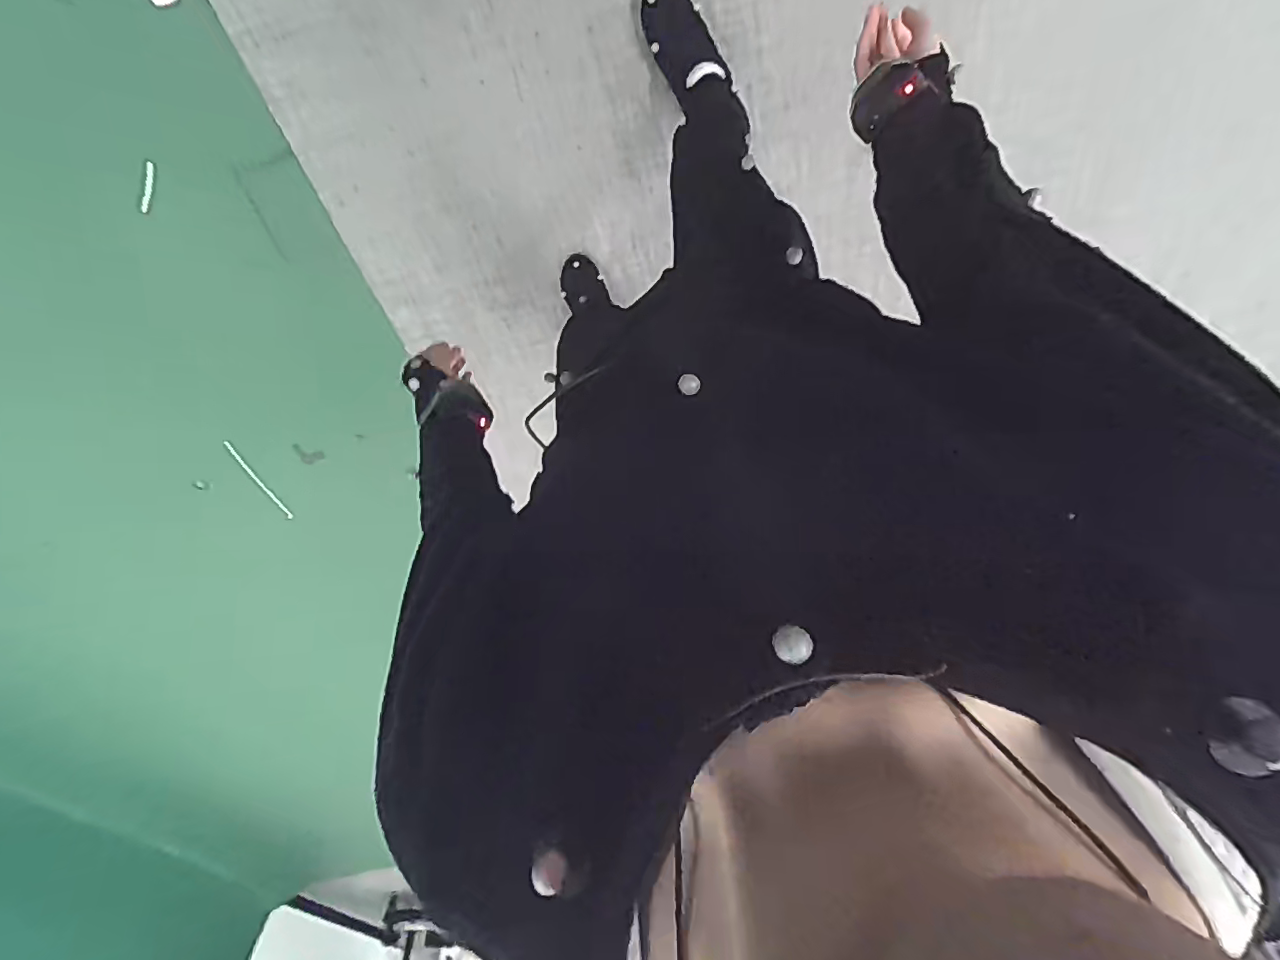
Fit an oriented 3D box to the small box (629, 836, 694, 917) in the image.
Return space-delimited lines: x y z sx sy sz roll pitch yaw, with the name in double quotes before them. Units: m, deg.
"small box" 0.066 1.256 1.719 0.179 0.176 0.168 -11 129 4
